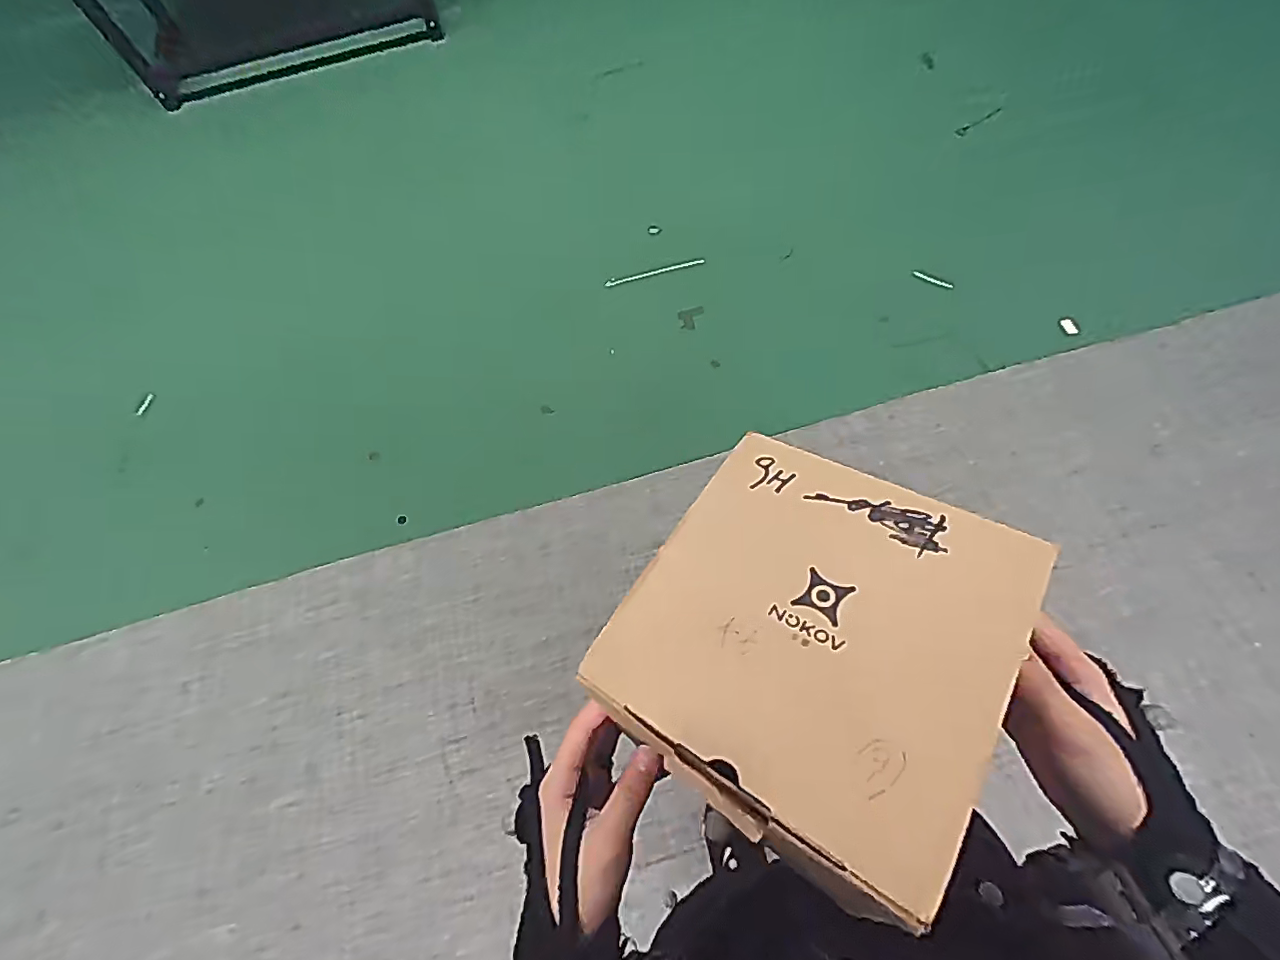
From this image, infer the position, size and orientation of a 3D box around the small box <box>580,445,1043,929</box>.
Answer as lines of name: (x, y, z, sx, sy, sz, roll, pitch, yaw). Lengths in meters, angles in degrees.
small box: (0.097, 0.116, 0.326, 0.168, 0.176, 0.179, 25, 63, 28)
